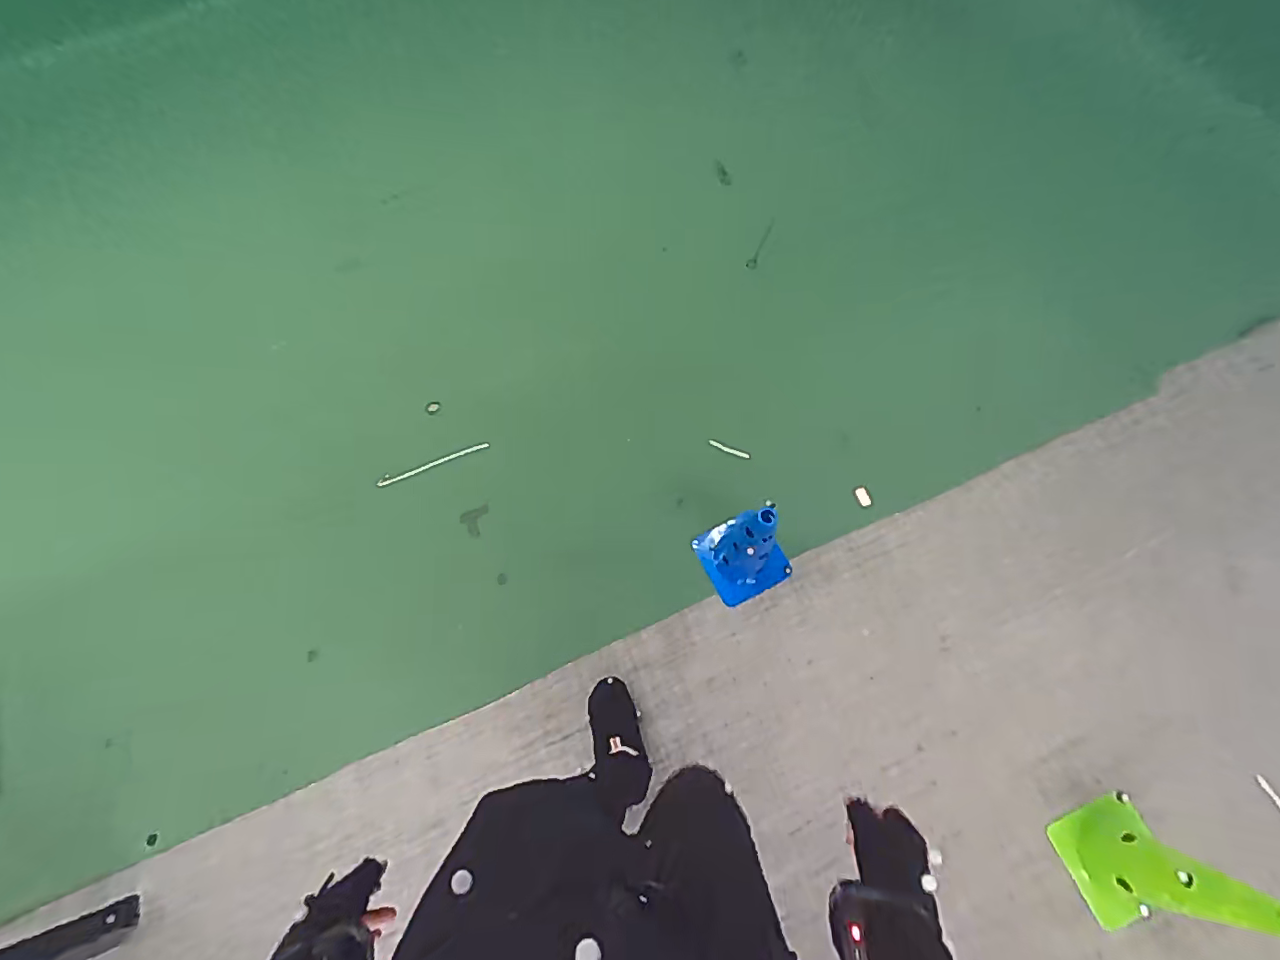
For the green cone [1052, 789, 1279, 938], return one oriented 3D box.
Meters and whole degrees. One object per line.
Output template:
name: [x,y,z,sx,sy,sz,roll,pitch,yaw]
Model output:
green cone: [0.978,0.717,0.955,0.200,0.368,0.202,-24,71,-6]
